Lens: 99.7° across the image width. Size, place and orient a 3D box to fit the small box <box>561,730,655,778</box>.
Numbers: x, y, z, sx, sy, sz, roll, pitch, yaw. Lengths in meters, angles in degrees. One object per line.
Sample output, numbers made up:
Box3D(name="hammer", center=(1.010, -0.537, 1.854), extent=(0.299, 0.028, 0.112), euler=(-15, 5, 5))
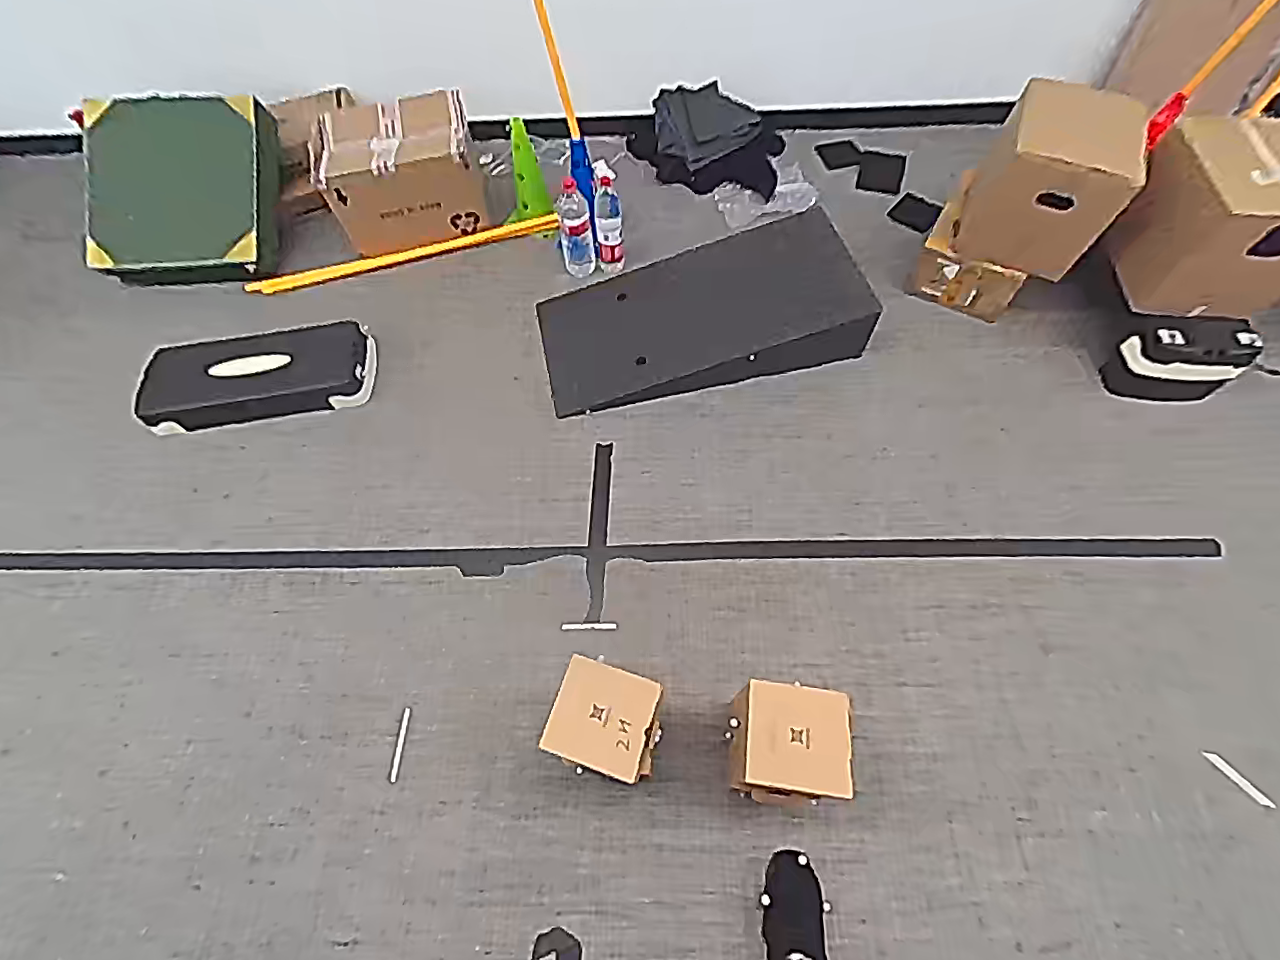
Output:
Box3D(name="small box", center=(-0.058, 0.528, 1.148), extent=(0.179, 0.176, 0.168), euler=(5, 62, 3))

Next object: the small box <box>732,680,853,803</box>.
Box3D(name="small box", center=(0.270, 0.475, 0.982), extent=(0.179, 0.176, 0.168), euler=(7, 61, 6))

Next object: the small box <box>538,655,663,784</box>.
Box3D(name="small box", center=(-0.064, 0.447, 1.003), extent=(0.179, 0.176, 0.168), euler=(16, 64, 11))

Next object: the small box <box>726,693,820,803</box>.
Box3D(name="small box", center=(0.272, 0.556, 1.123), extent=(0.168, 0.176, 0.179), euler=(6, 61, 5))
